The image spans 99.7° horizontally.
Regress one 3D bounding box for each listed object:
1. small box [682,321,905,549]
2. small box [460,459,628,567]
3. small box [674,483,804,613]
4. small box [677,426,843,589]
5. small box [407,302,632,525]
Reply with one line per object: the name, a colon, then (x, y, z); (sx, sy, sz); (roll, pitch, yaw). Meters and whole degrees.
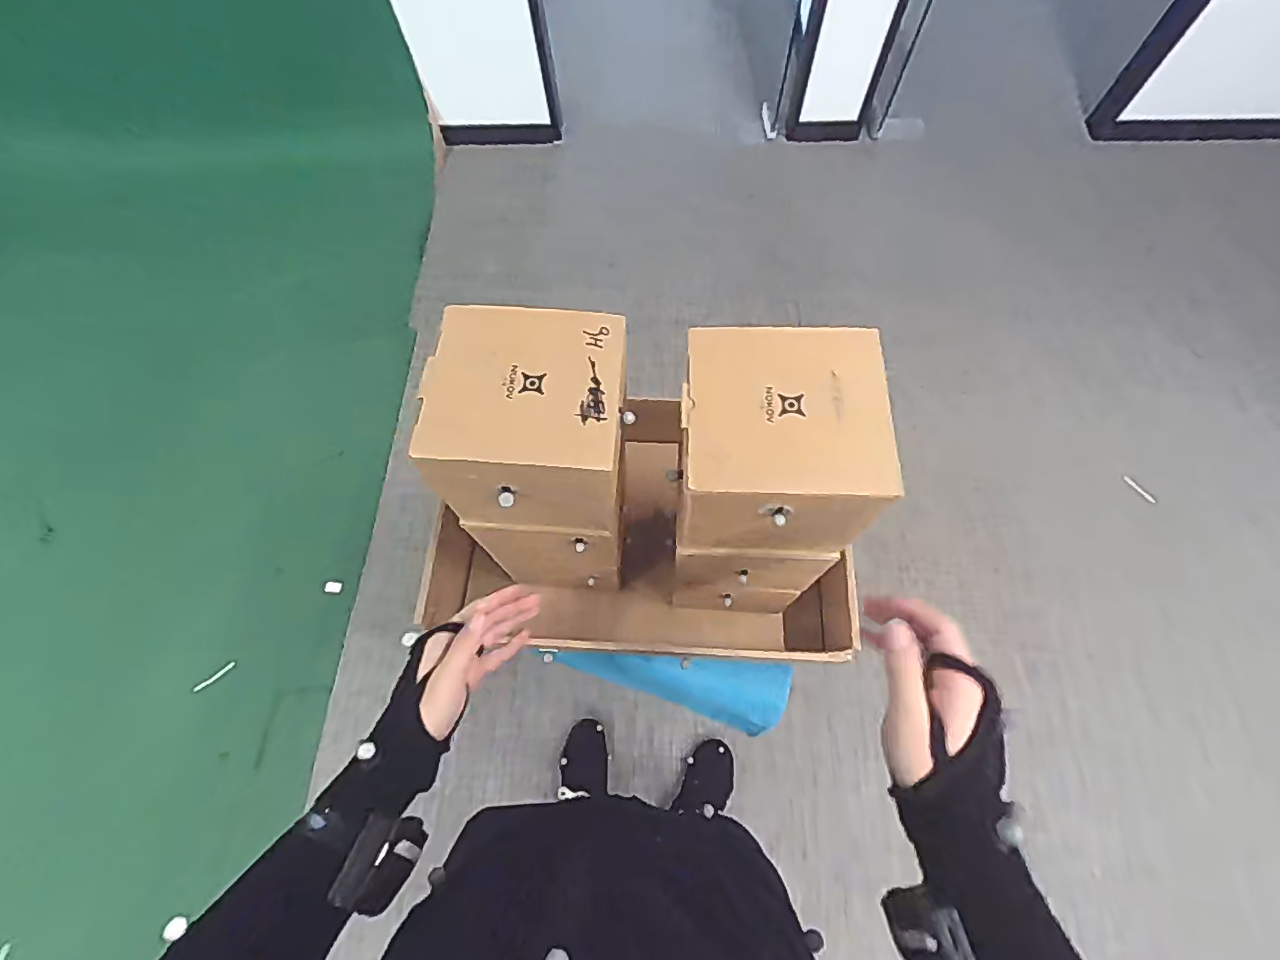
small box: (0.131, -0.035, 0.532); (0.179, 0.176, 0.168); (2, 67, 4)
small box: (-0.110, 0.011, 0.703); (0.179, 0.176, 0.168); (4, 66, 1)
small box: (0.145, 0.105, 0.827); (0.179, 0.176, 0.168); (3, 67, 5)
small box: (0.137, 0.037, 0.678); (0.179, 0.176, 0.168); (1, 66, 5)
small box: (-0.103, -0.058, 0.554); (0.179, 0.176, 0.168); (3, 67, 2)
